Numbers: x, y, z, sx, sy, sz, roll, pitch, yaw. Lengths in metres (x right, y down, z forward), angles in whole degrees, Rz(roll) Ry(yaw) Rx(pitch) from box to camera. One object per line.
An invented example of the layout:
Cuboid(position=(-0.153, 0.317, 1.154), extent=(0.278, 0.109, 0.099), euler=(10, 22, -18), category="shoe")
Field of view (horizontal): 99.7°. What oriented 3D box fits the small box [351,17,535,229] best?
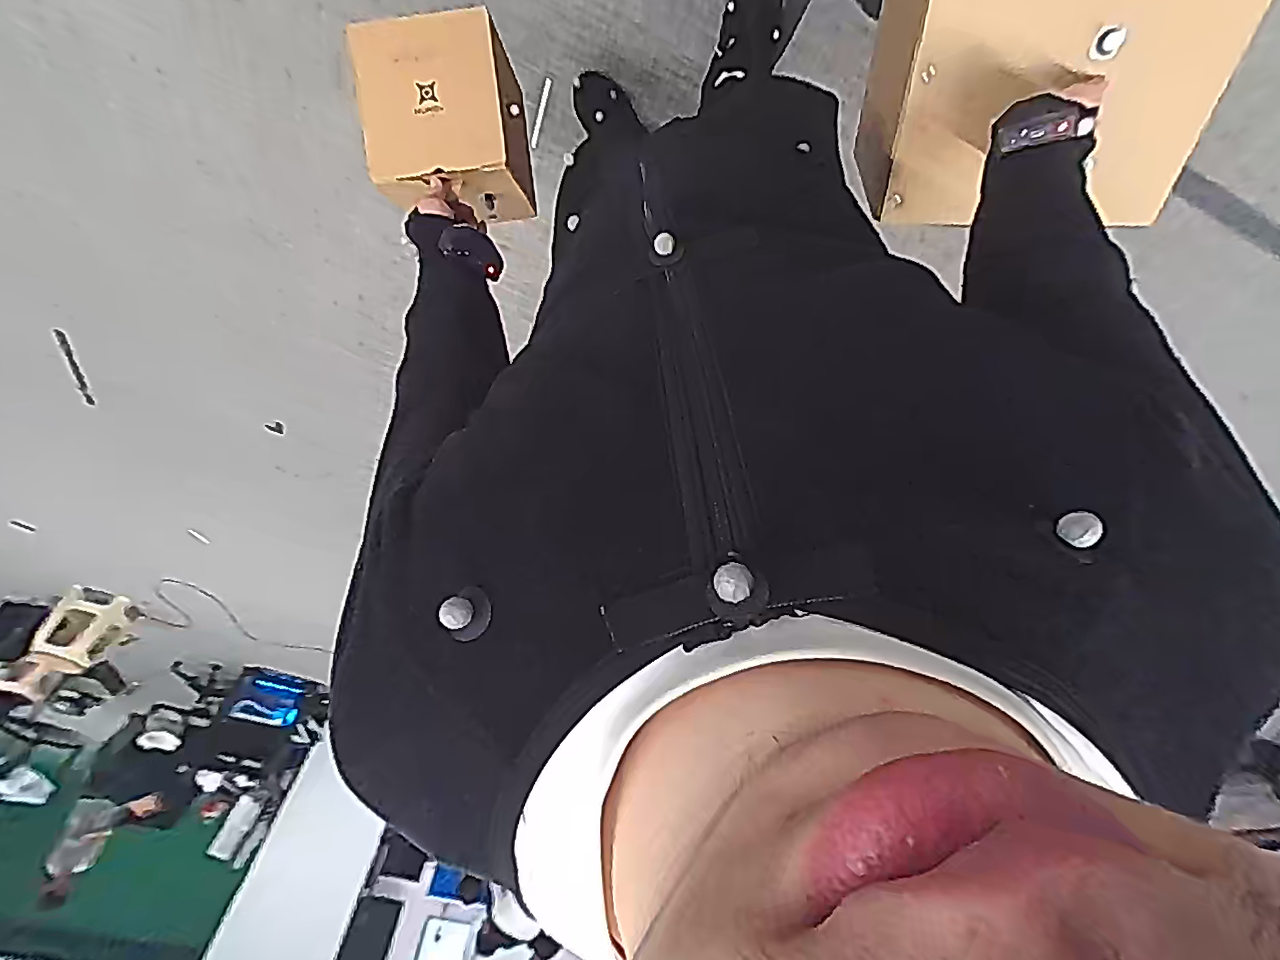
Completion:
Cuboid(position=(-0.243, -0.447, 0.711), extent=(0.168, 0.176, 0.179), euler=(-6, 96, 2), category="small box")
